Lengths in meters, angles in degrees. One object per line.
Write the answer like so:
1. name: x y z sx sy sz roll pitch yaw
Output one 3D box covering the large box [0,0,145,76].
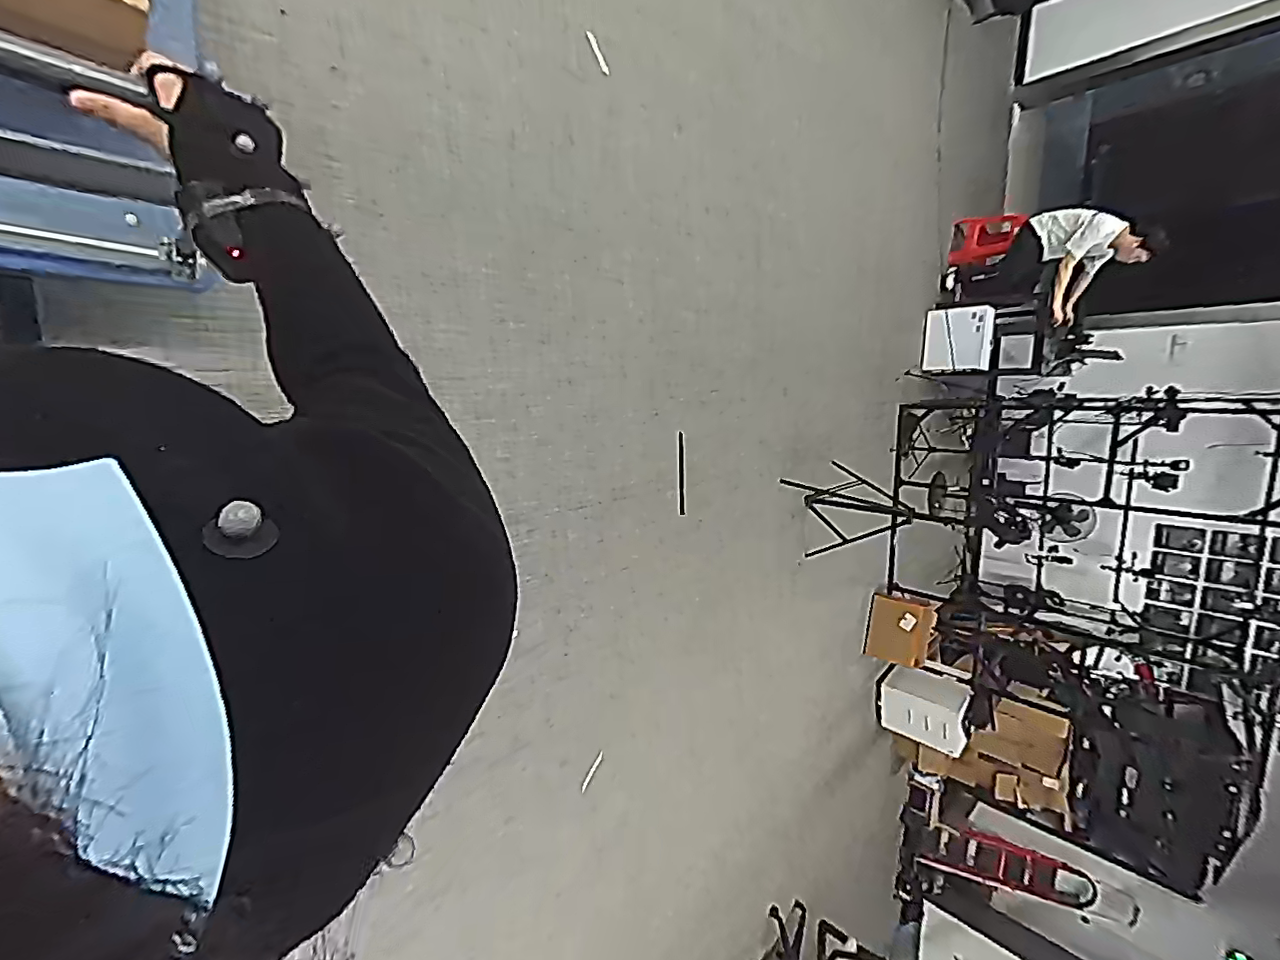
1. large box: -0.879 -0.788 0.645 0.408 0.320 0.320 -4 99 -44
